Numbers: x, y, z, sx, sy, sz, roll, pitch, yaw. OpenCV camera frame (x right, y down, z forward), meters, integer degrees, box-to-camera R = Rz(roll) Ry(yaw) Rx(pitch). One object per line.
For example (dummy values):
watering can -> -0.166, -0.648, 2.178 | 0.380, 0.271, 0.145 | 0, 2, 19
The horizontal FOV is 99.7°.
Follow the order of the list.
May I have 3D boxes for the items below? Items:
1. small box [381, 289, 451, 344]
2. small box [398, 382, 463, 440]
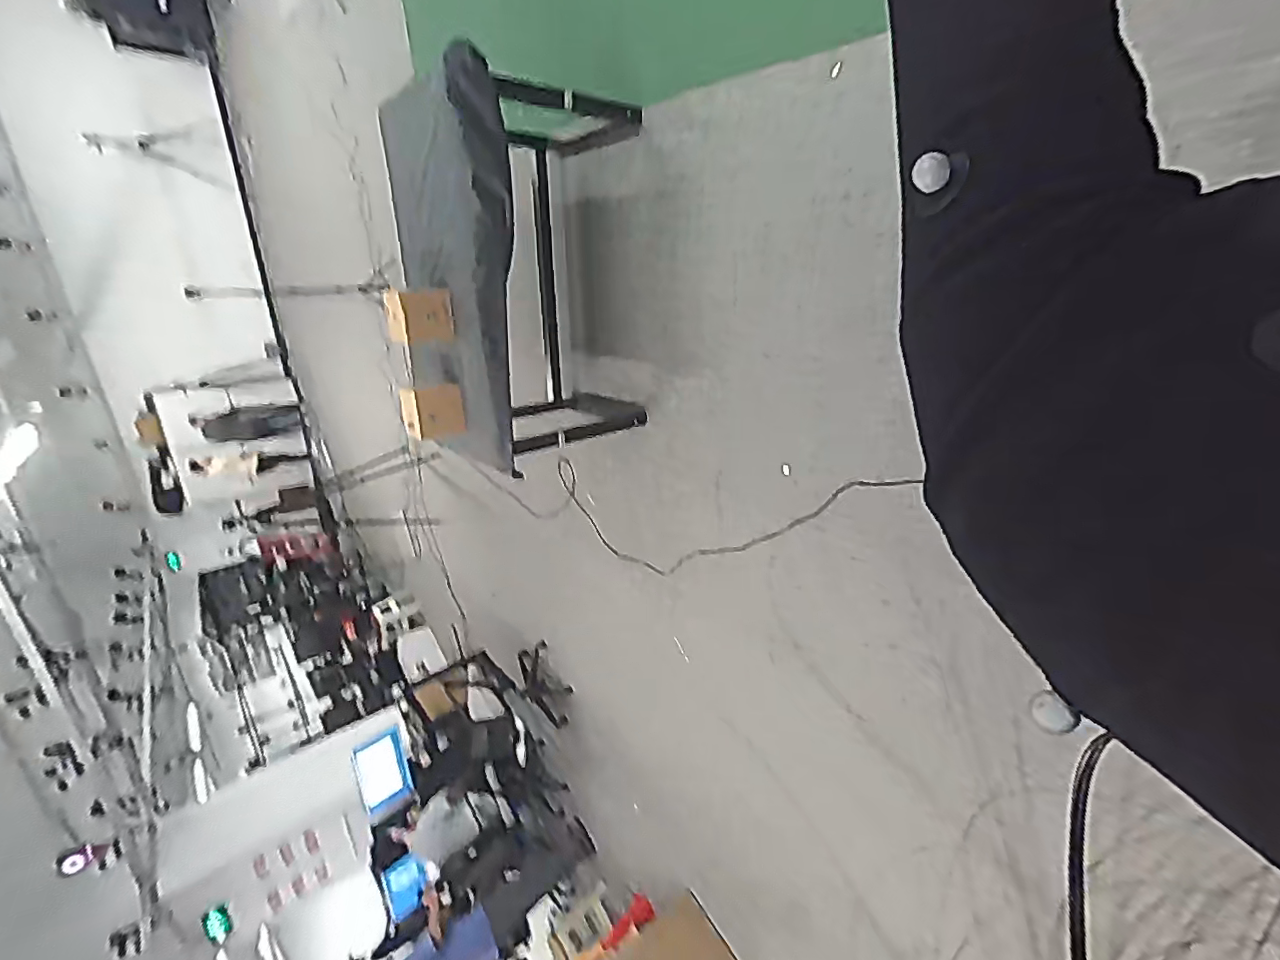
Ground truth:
small box -> -0.763, -0.566, 1.862 | 0.179, 0.176, 0.168 | 22, 120, 45
small box -> -0.764, -0.258, 1.983 | 0.168, 0.176, 0.179 | 19, 117, 46
